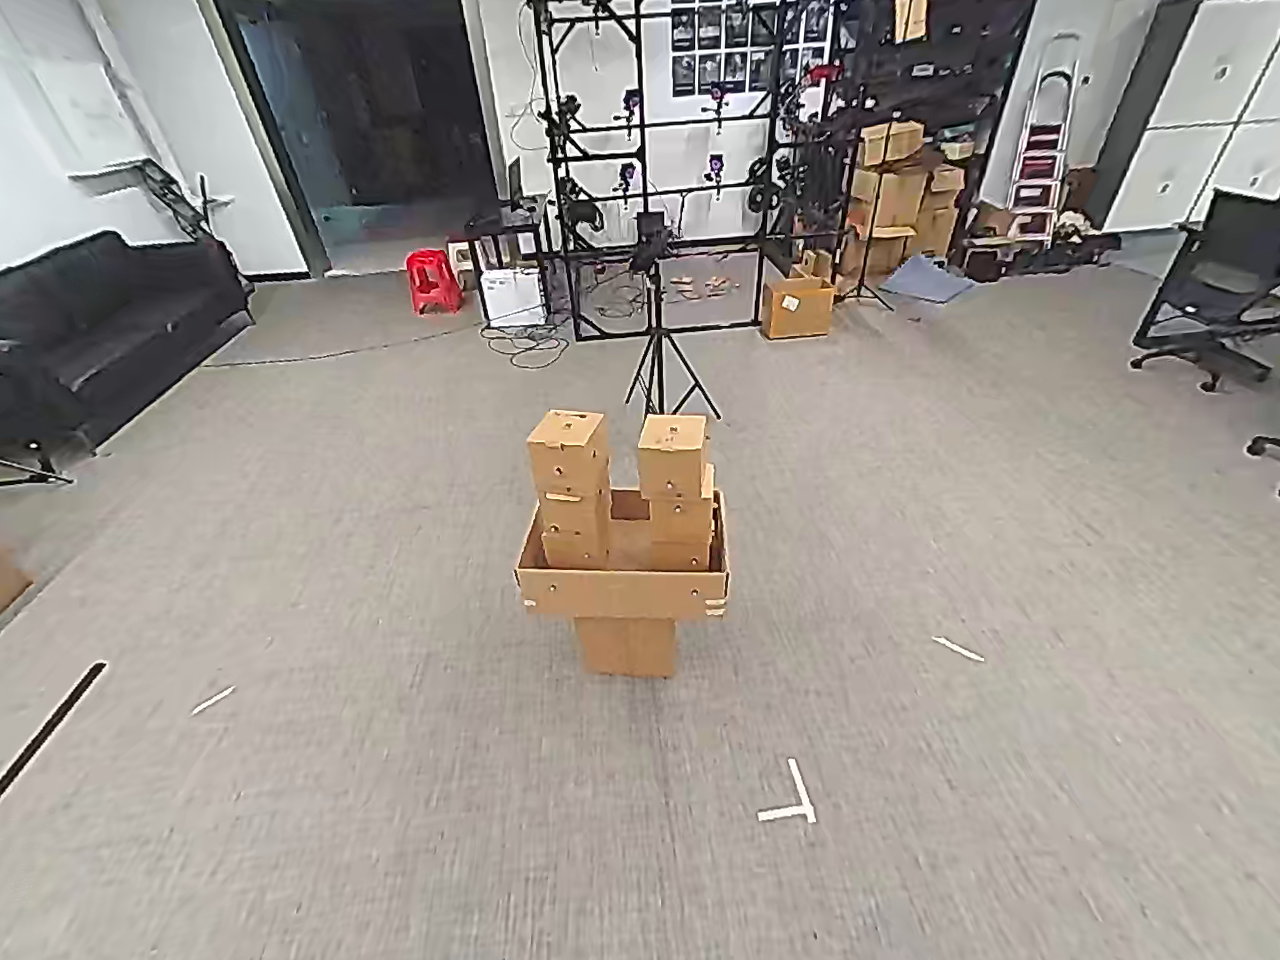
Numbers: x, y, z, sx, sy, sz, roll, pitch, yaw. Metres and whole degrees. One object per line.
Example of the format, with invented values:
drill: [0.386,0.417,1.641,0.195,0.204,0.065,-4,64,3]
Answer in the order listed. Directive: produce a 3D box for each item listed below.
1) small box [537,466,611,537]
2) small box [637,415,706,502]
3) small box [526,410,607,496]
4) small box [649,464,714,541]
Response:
small box: [-0.189,0.053,1.619,0.168,0.176,0.179,5,37,11]
small box: [0.092,-0.062,1.477,0.168,0.176,0.179,2,37,11]
small box: [-0.196,-0.075,1.516,0.168,0.176,0.179,7,38,14]
small box: [0.125,0.065,1.577,0.179,0.176,0.168,1,36,8]
